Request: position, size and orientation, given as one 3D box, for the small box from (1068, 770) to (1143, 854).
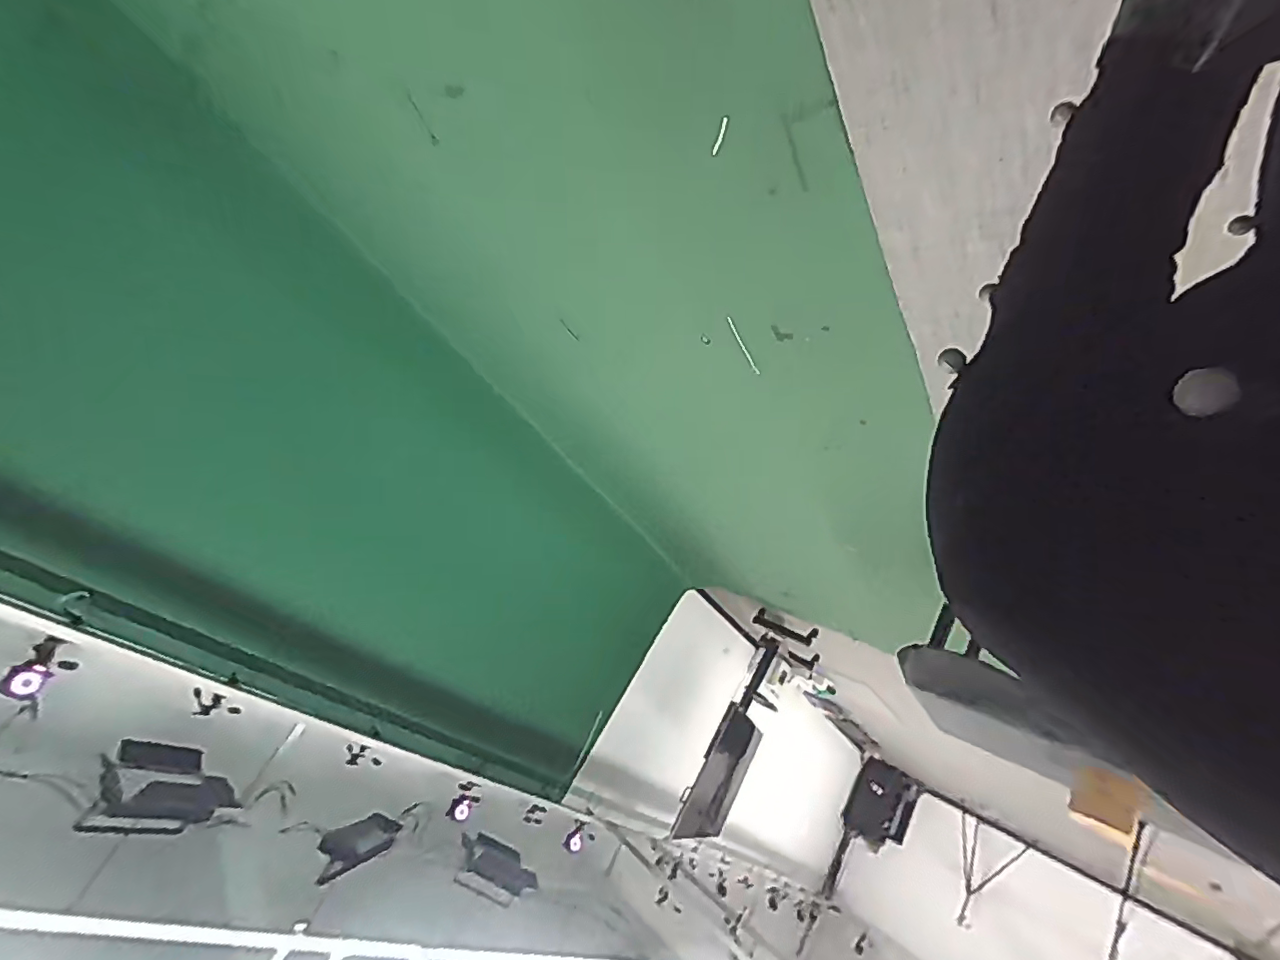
[{"bbox_3d":[1.581,1.120,1.837,0.168,0.176,0.179,13,152,48],"label":"small box"}]
